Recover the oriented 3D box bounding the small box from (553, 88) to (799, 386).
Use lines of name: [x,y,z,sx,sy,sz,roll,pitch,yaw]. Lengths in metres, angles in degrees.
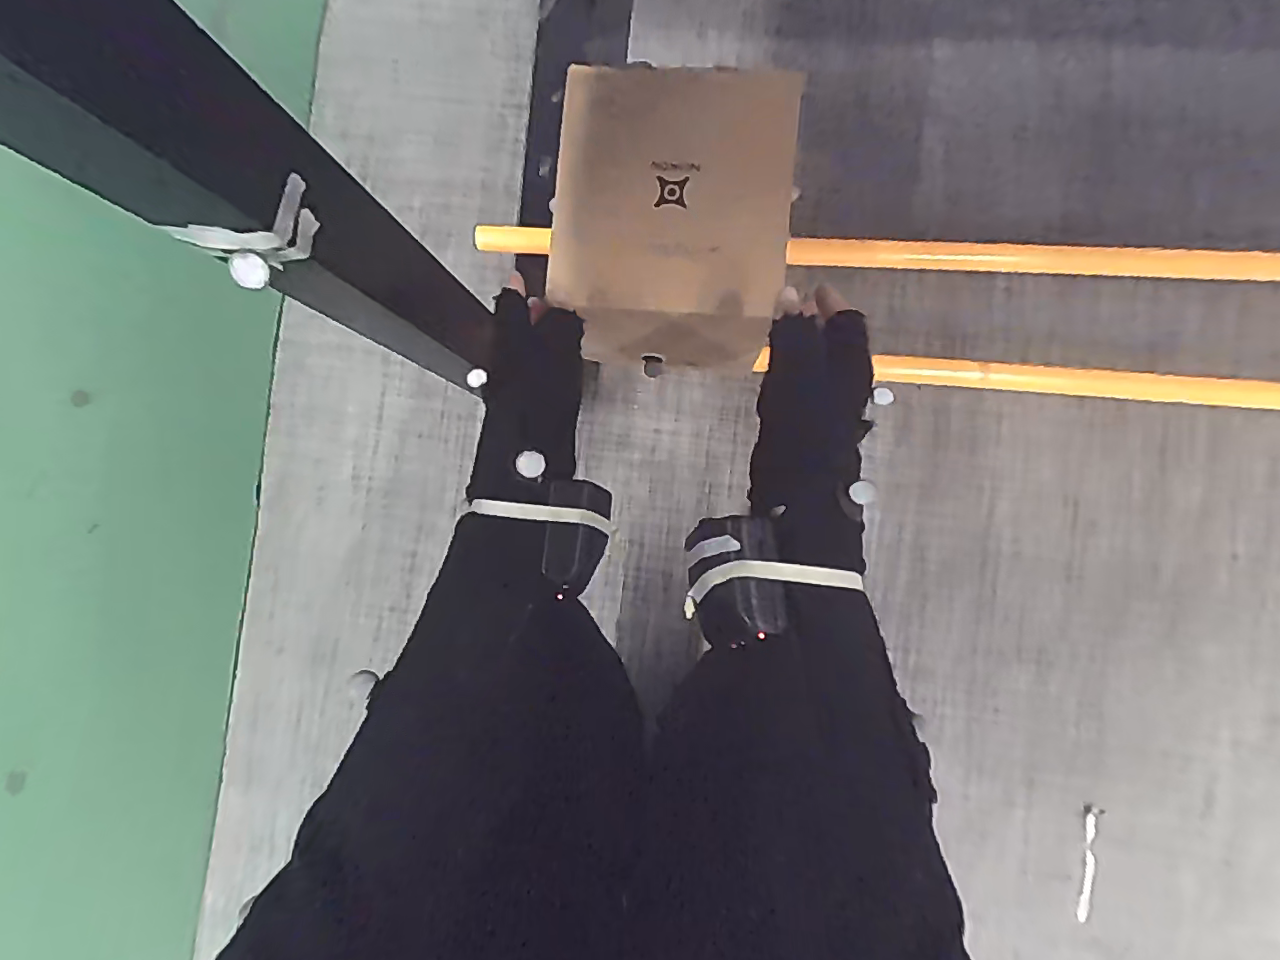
small box: [0.031,-0.189,0.464,0.168,0.176,0.179,4,89,5]
